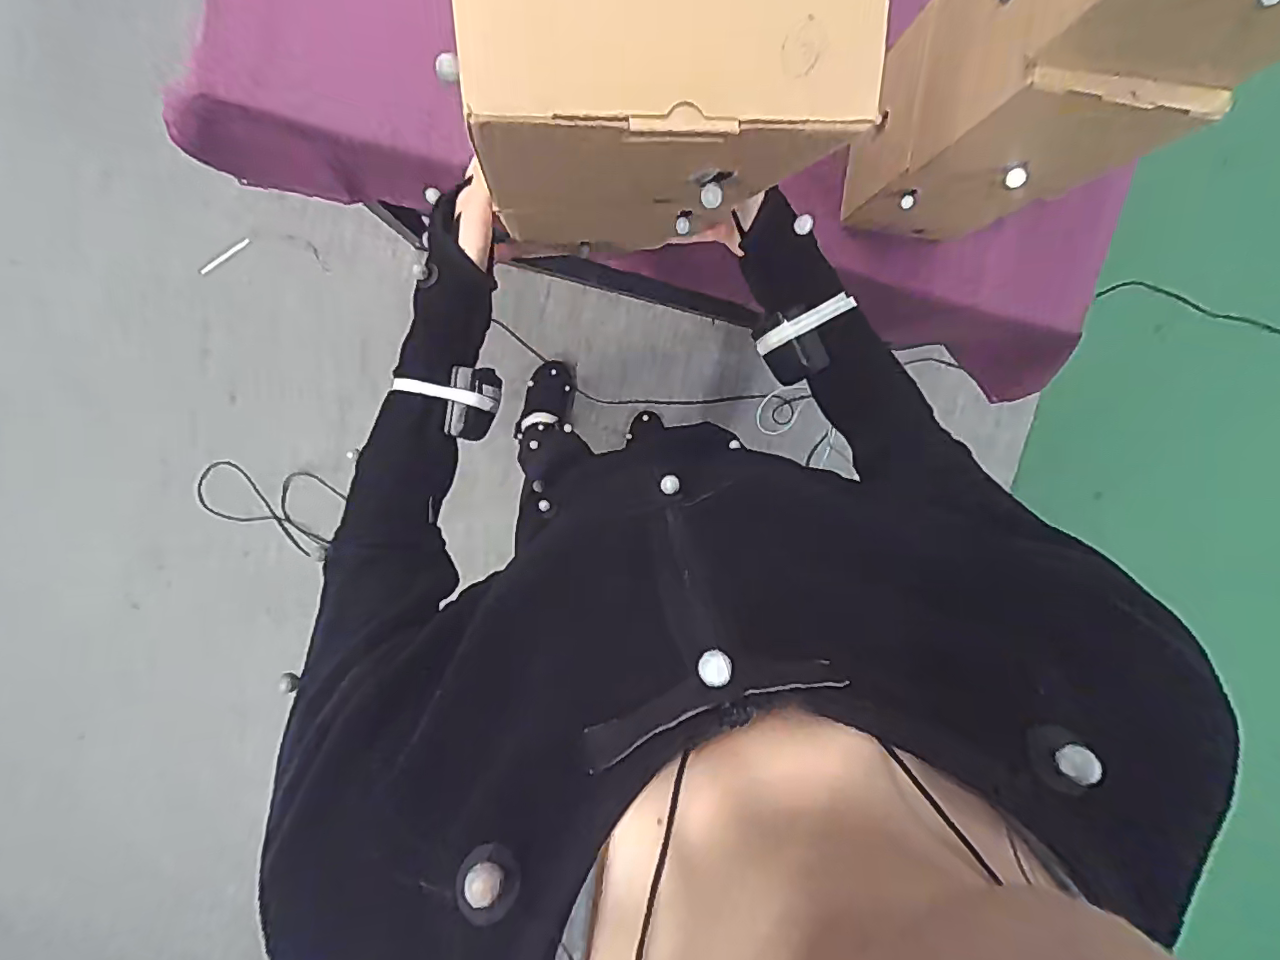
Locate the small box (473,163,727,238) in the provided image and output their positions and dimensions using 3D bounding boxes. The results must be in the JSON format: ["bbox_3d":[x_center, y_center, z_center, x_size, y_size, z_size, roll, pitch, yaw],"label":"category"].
[{"bbox_3d":[-0.036,-0.288,0.415,0.179,0.176,0.168,-6,107,-8],"label":"small box"}]

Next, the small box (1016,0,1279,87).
[{"bbox_3d":[0.375,-0.371,0.318,0.179,0.176,0.168,4,96,-4],"label":"small box"}]

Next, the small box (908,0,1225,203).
[{"bbox_3d":[0.369,-0.379,0.483,0.168,0.176,0.179,6,97,-4],"label":"small box"}]

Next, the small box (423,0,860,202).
[{"bbox_3d":[-0.009,-0.245,0.261,0.168,0.176,0.179,-4,106,-10],"label":"small box"}]
